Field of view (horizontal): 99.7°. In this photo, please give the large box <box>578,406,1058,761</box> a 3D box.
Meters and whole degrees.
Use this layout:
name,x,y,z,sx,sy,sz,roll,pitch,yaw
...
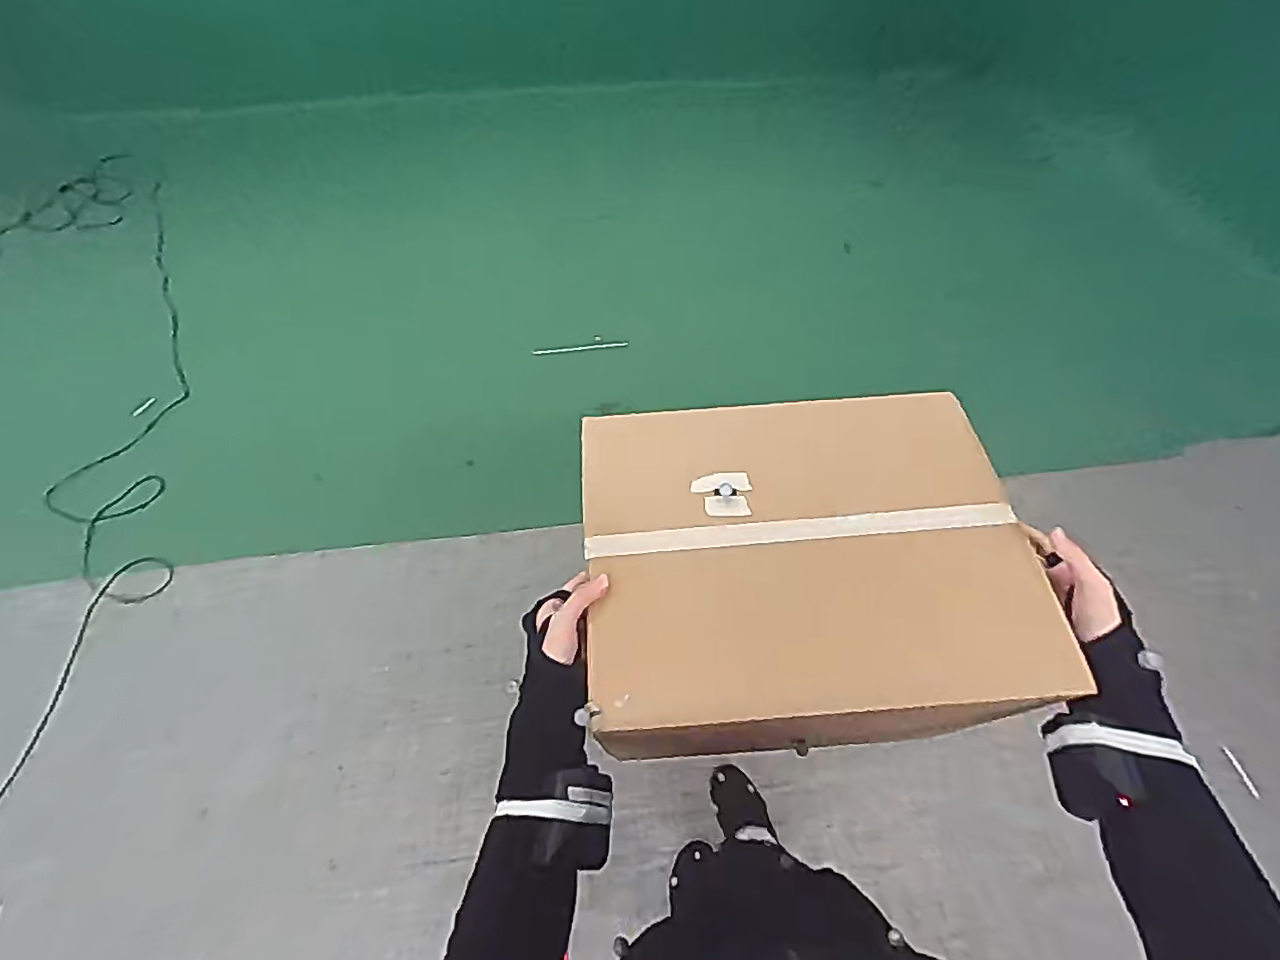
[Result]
name,x,y,z,sx,sy,sz,roll,pitch,yaw
large box,0.150,0.142,0.651,0.408,0.320,0.320,-5,58,0
